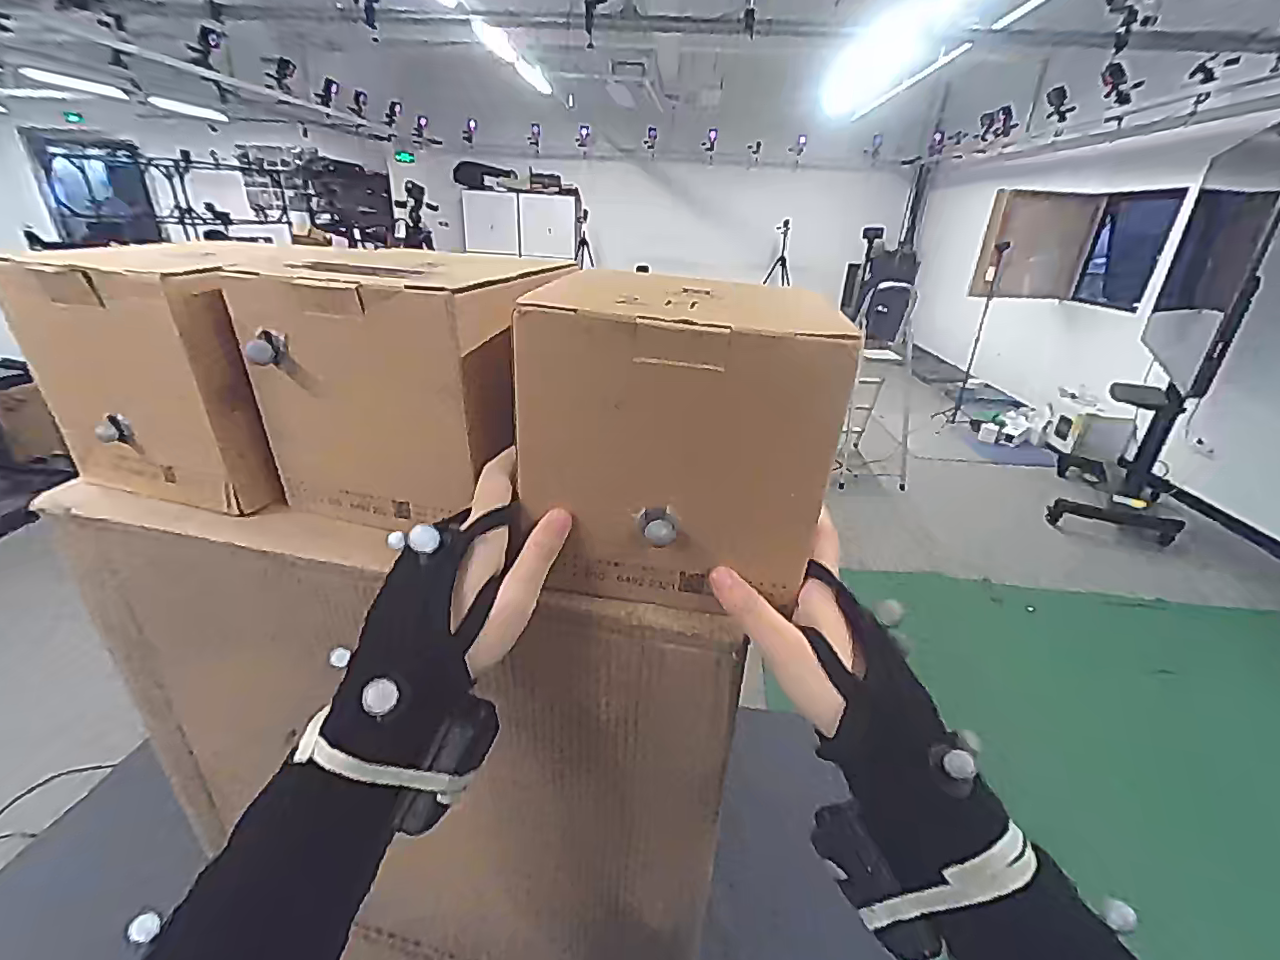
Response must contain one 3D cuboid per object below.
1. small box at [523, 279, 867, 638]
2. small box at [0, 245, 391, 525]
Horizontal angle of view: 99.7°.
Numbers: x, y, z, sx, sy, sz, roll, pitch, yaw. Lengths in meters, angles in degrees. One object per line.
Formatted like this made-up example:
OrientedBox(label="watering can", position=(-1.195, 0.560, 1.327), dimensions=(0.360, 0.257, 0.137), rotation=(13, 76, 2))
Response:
OrientedBox(label="small box", position=(0.028, -0.027, 0.359), dimensions=(0.168, 0.176, 0.179), rotation=(7, 28, 6))
OrientedBox(label="small box", position=(-0.329, -0.088, 0.438), dimensions=(0.168, 0.176, 0.179), rotation=(10, 29, 14))
